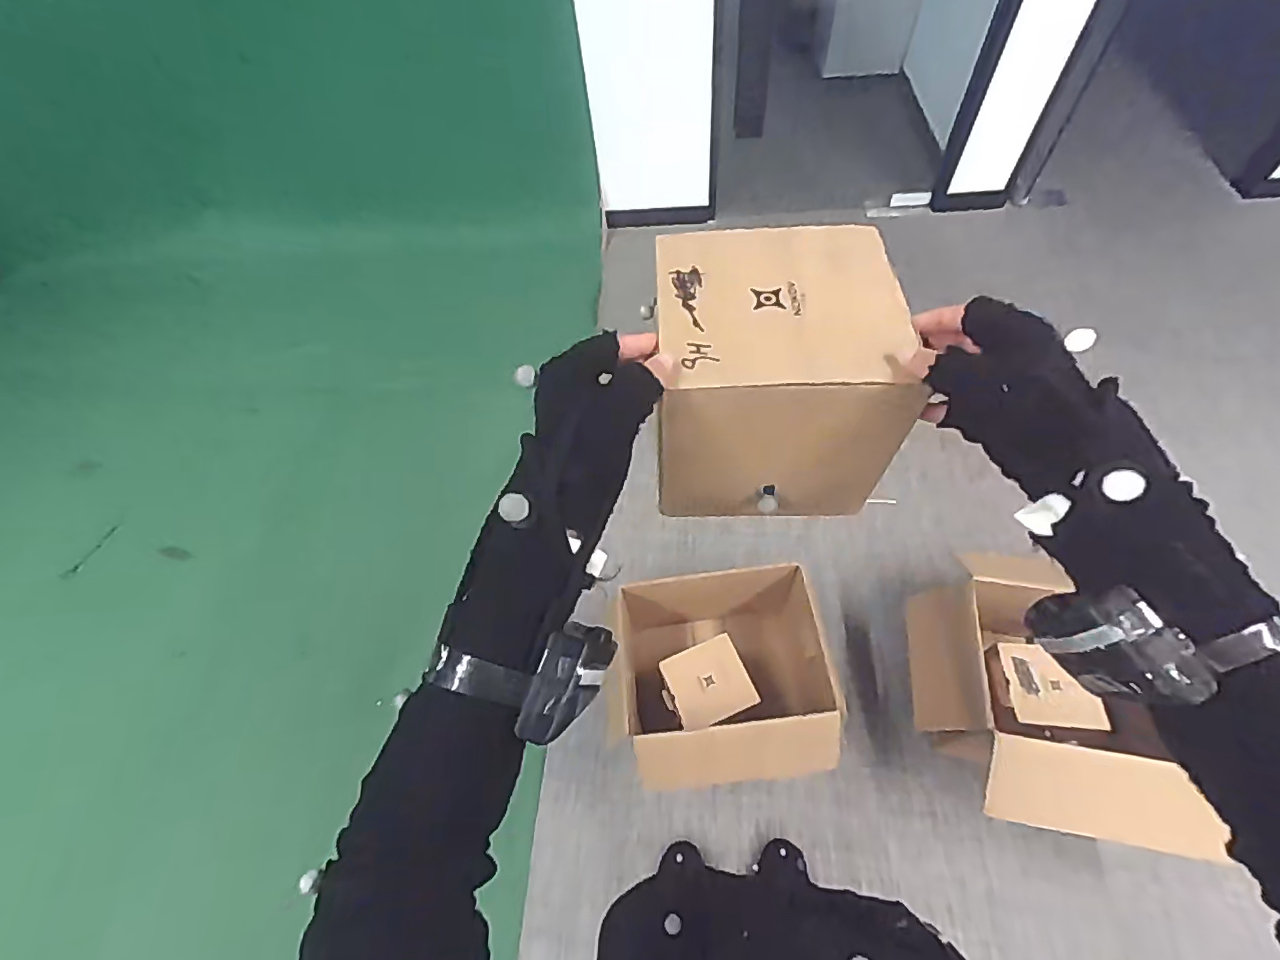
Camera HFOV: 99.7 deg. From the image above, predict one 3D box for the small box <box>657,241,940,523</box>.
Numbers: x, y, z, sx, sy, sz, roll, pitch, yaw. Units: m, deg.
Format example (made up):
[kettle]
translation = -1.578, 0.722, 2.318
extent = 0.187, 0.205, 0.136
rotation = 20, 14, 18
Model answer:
[small box]
translation = 0.105, -0.074, 0.452
extent = 0.179, 0.176, 0.168
rotation = -1, 56, 0
